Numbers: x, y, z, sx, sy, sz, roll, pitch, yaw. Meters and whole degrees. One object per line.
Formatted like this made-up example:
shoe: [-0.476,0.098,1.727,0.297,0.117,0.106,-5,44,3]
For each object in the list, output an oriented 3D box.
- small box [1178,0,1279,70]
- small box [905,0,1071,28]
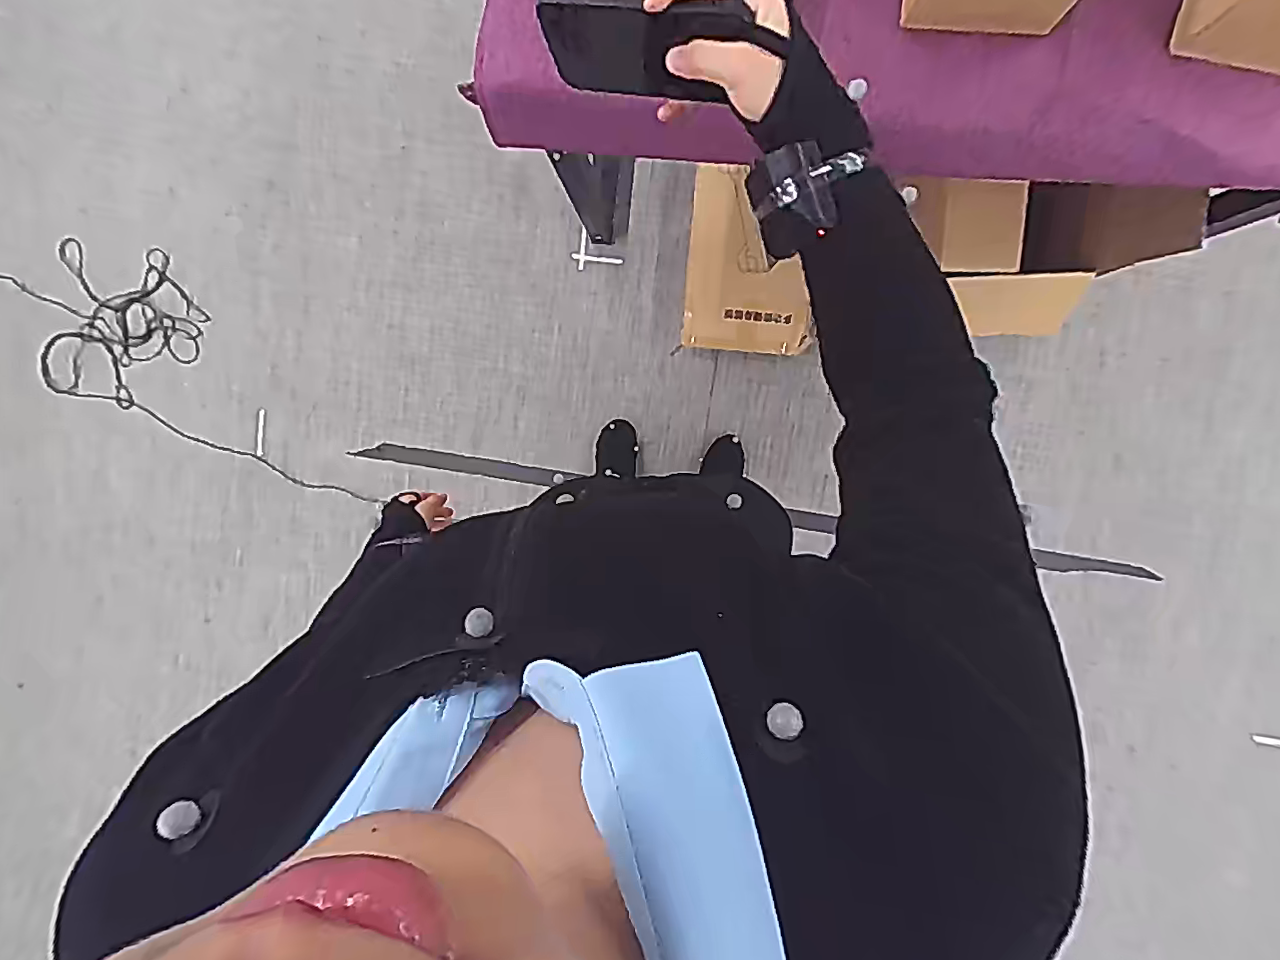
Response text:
small box: [0.721,-0.559,0.545,0.179,0.176,0.168,13,97,2]
small box: [0.408,-0.616,0.561,0.179,0.176,0.168,6,95,4]
